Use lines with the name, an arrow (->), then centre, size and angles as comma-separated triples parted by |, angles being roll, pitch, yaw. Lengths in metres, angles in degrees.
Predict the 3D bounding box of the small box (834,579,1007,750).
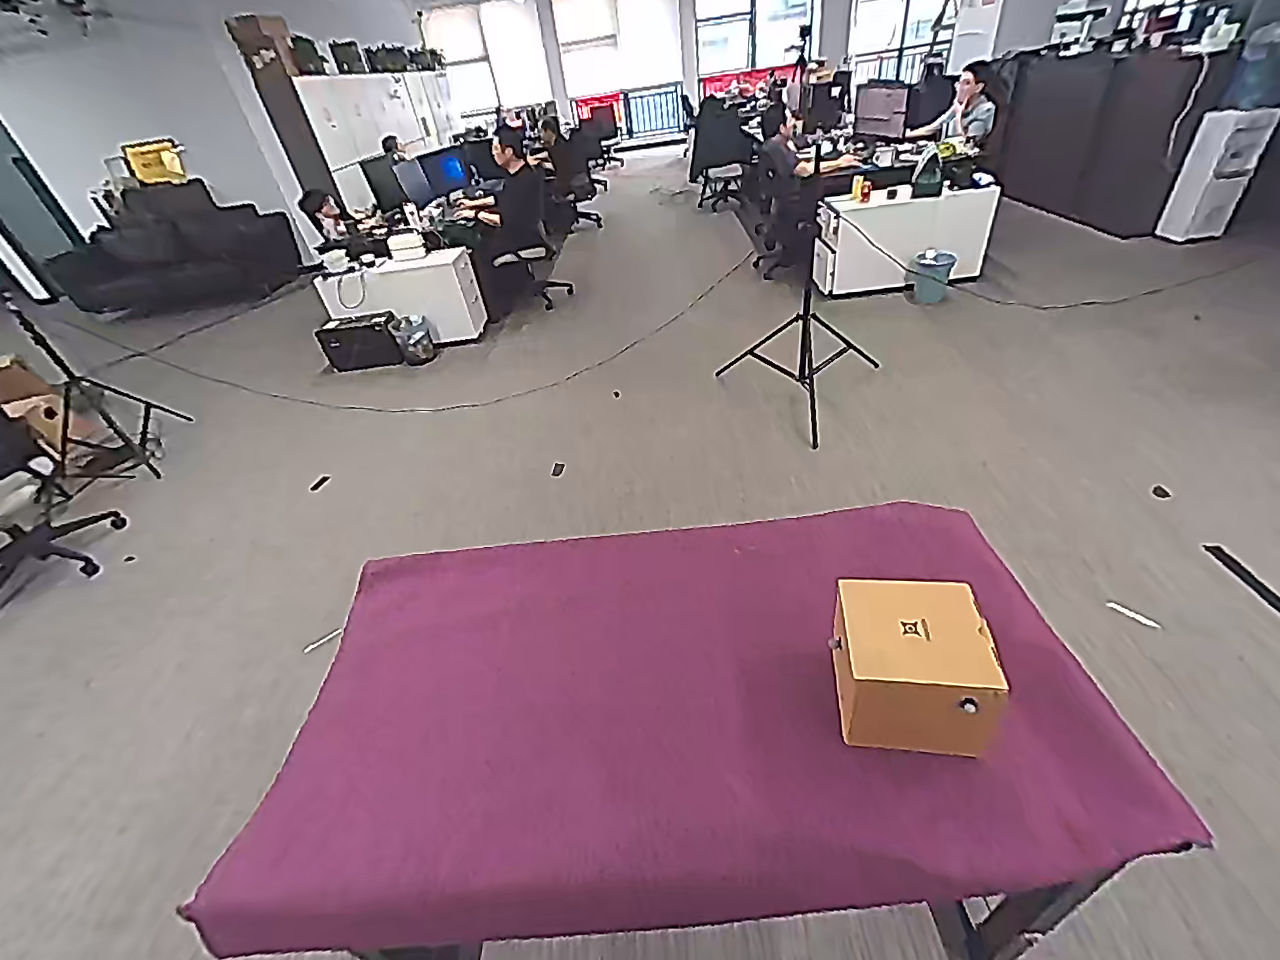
small box -> 0.374, 0.258, 0.761 | 0.179, 0.176, 0.168 | -1, 38, 12
